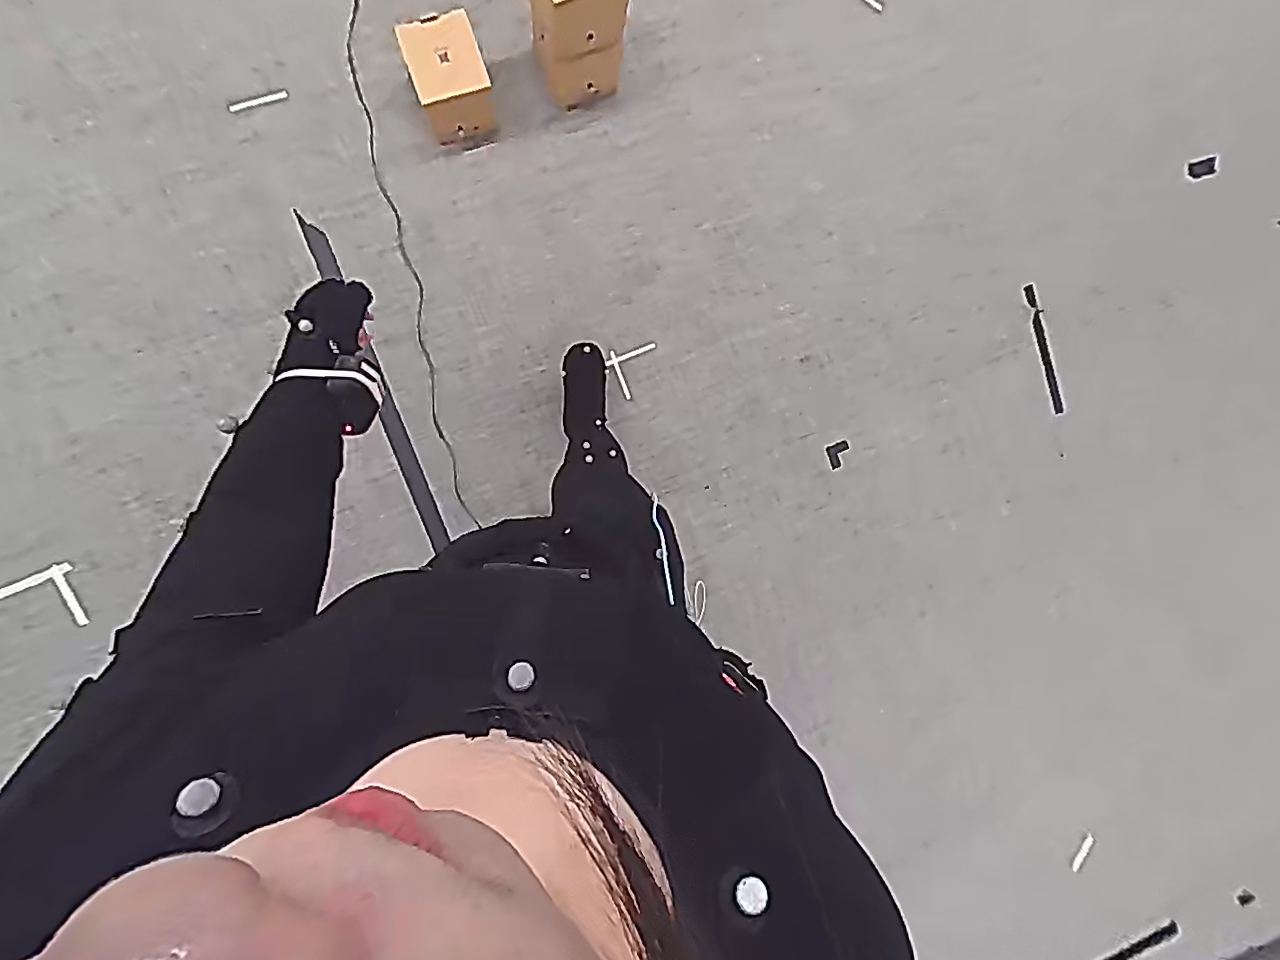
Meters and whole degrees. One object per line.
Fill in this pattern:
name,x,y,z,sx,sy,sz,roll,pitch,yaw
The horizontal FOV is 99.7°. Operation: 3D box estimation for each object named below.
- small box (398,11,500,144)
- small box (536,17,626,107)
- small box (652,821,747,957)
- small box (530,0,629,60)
small box,-0.446,-0.948,1.288,0.168,0.176,0.179,-19,97,-6
small box,-0.150,-1.067,1.320,0.168,0.176,0.179,-23,97,-5
small box,0.133,0.977,1.306,0.179,0.176,0.168,-17,96,-7
small box,-0.134,-1.056,1.157,0.179,0.176,0.168,-24,96,-7
